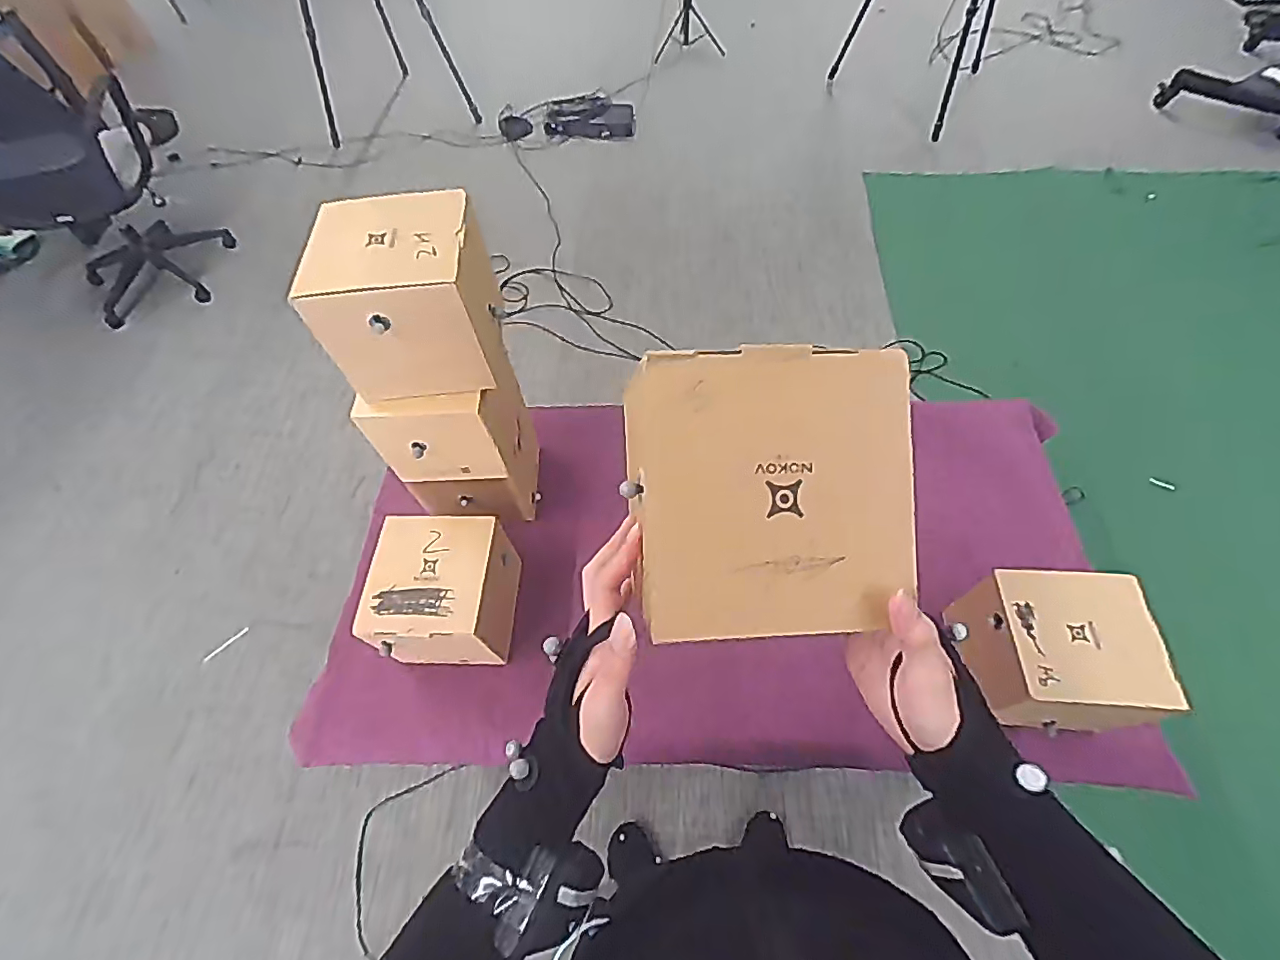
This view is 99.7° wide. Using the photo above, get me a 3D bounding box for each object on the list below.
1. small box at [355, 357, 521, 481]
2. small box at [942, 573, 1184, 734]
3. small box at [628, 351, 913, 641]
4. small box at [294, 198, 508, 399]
[{"bbox_3d":[-0.279,-0.108,0.794,0.168,0.176,0.179,-2,58,1],"label":"small box"},{"bbox_3d":[0.547,0.240,0.732,0.179,0.176,0.168,3,58,5],"label":"small box"},{"bbox_3d":[0.079,0.011,0.409,0.168,0.176,0.179,-1,89,-6],"label":"small box"},{"bbox_3d":[-0.274,-0.215,0.666,0.179,0.176,0.168,-5,59,-1],"label":"small box"}]
